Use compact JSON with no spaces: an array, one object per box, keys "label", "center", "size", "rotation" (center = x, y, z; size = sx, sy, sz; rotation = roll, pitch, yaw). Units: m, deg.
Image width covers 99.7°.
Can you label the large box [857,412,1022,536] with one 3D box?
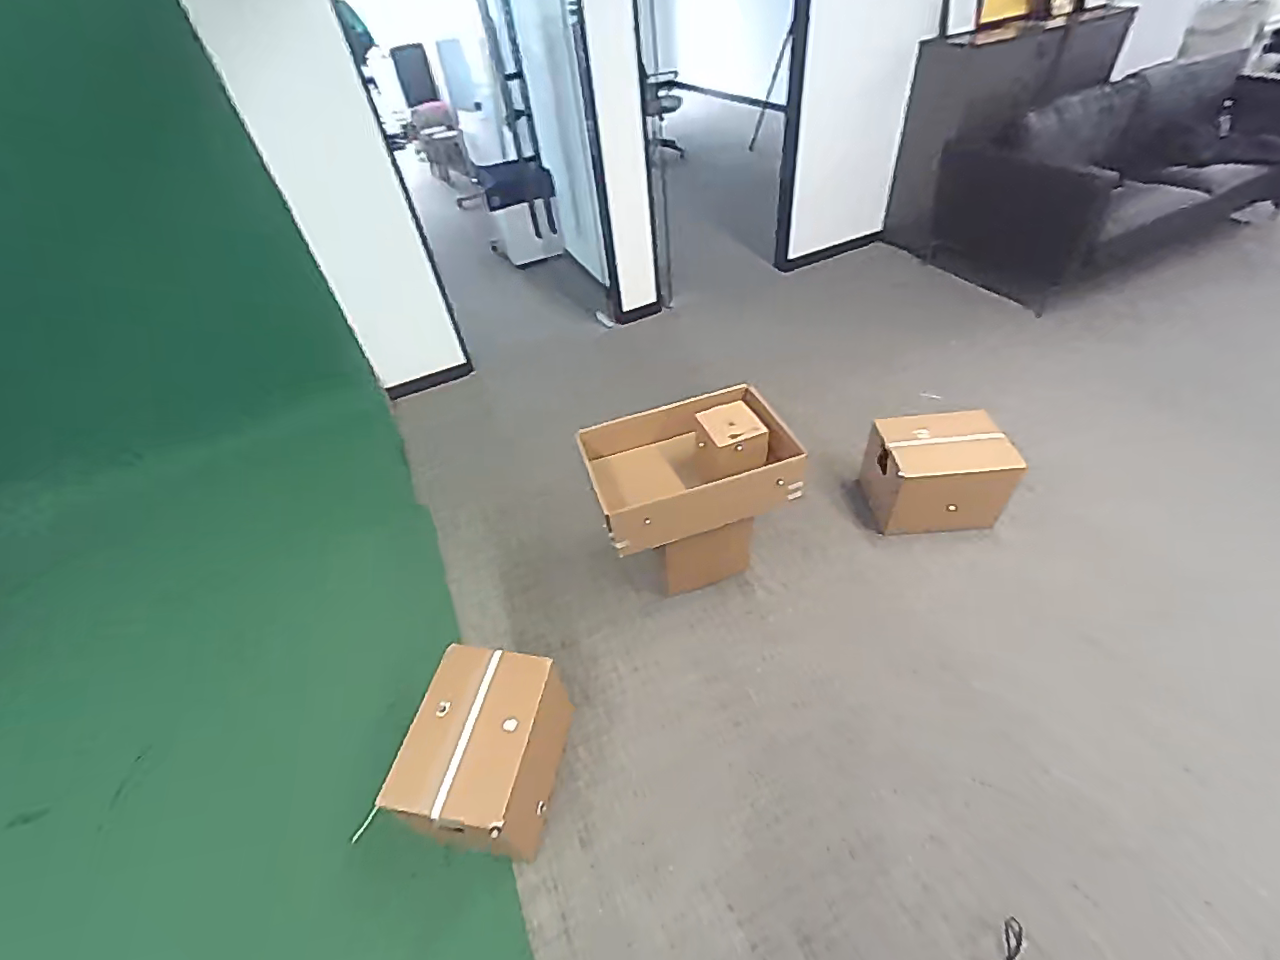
[{"label":"large box","center":[1.072,-0.020,1.991],"size":[0.408,0.320,0.320],"rotation":[-6,44,3]}]
